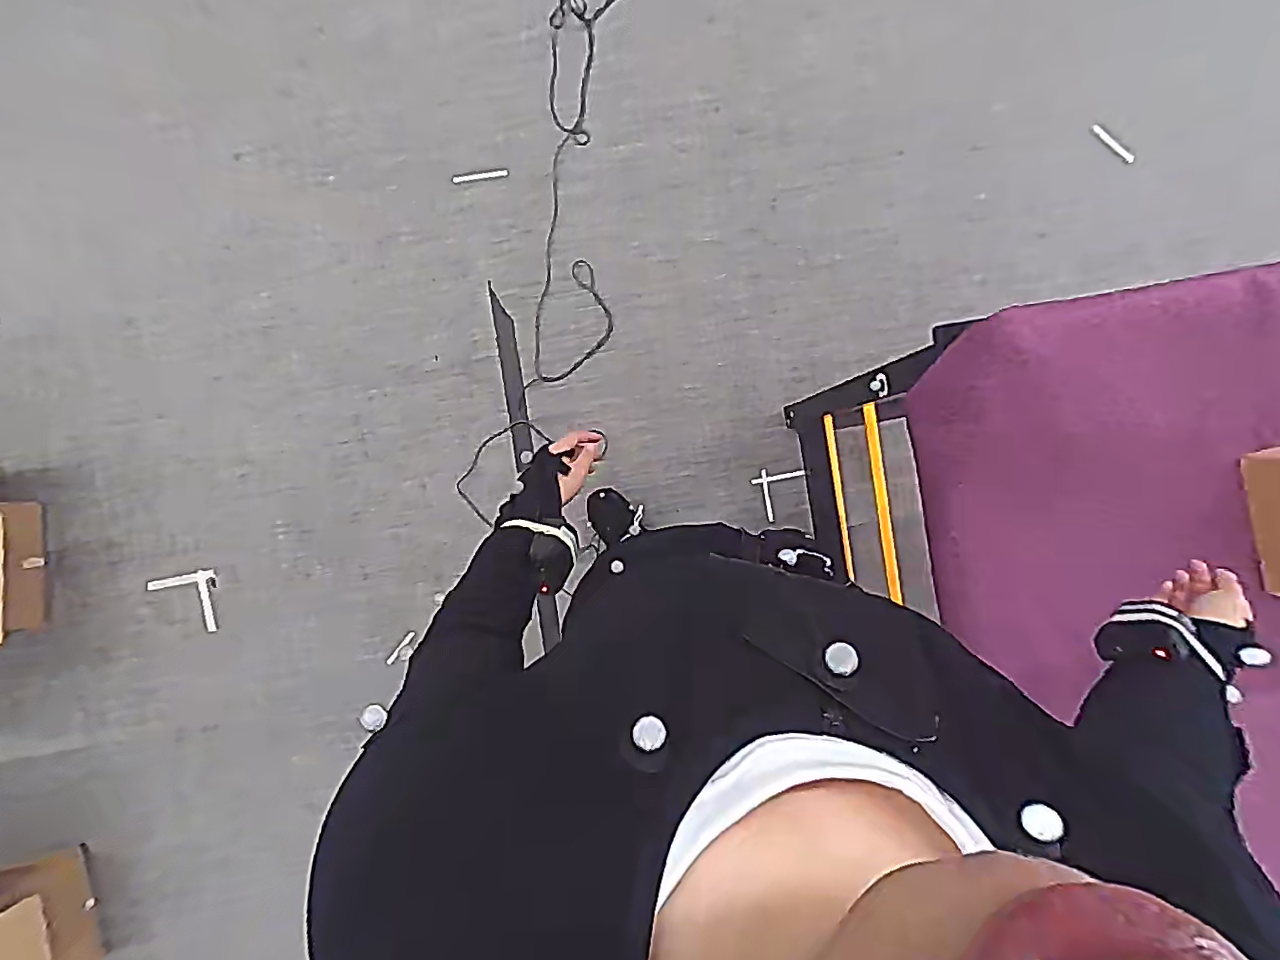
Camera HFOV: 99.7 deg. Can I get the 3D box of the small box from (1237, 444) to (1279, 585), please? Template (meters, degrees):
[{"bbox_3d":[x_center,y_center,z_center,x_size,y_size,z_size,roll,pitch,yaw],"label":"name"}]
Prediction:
[{"bbox_3d":[0.831,0.040,0.591,0.168,0.176,0.179,-13,92,-1],"label":"small box"}]
